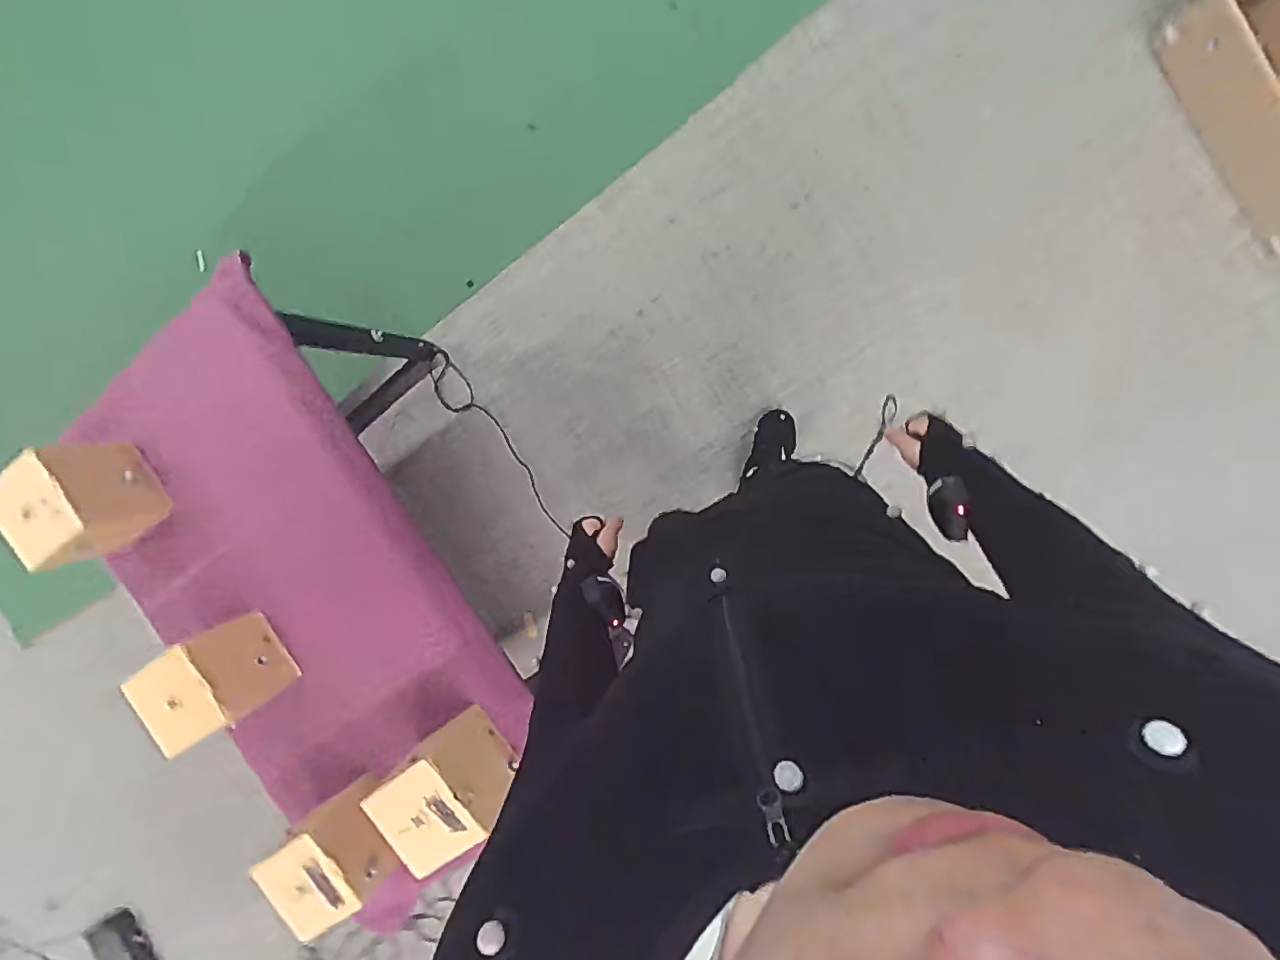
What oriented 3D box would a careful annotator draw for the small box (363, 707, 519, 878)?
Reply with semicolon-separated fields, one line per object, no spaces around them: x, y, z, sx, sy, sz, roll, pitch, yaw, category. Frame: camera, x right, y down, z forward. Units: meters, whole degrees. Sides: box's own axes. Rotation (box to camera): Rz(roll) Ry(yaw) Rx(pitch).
-0.342;0.548;0.972;0.179;0.176;0.168;-38;90;15;small box

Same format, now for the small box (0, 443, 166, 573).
-1.080;0.046;1.036;0.179;0.176;0.168;-32;94;13;small box

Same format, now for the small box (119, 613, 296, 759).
-0.822;0.389;1.044;0.179;0.176;0.168;-33;91;12;small box
